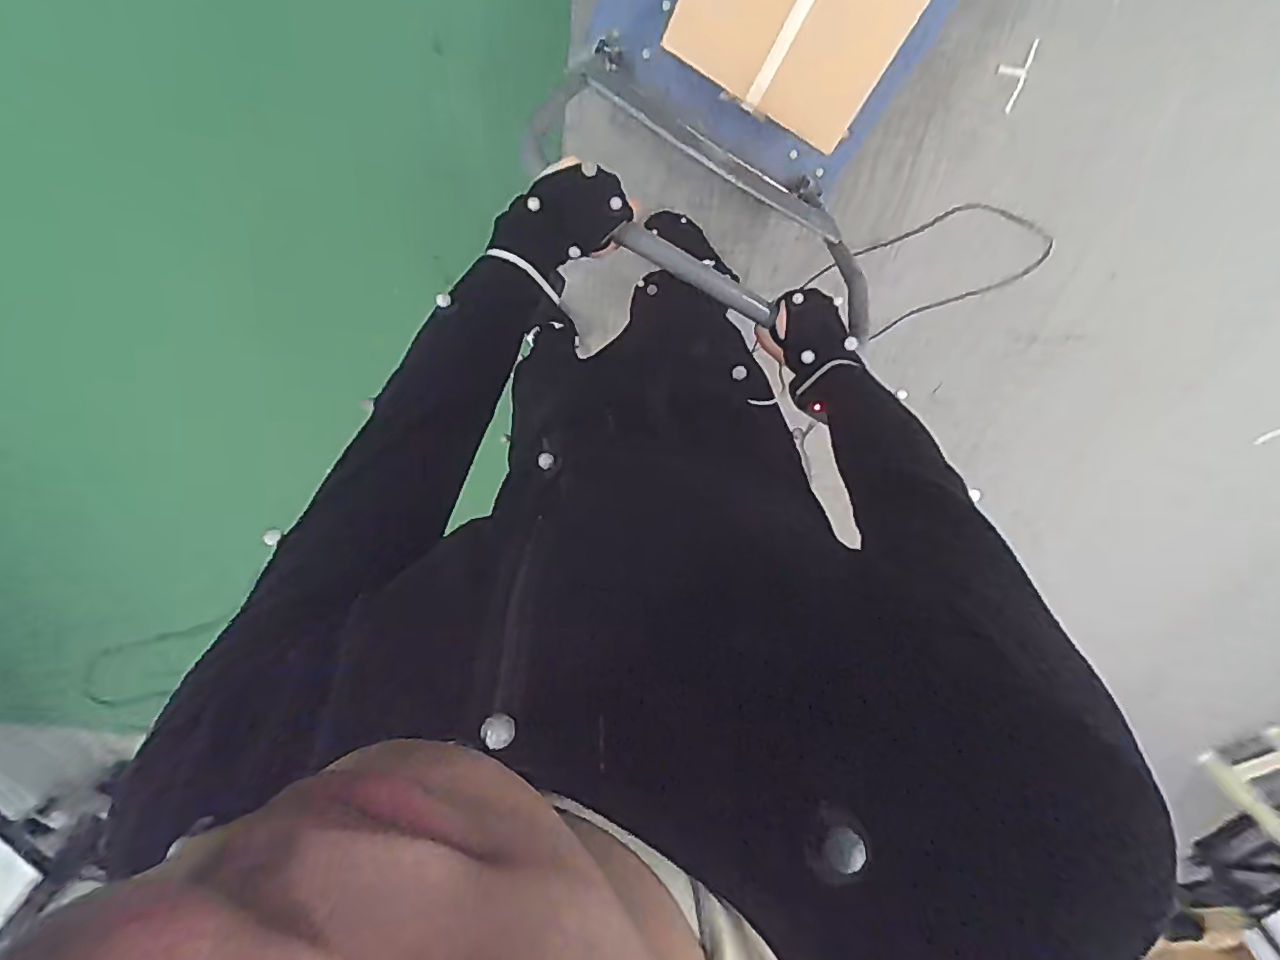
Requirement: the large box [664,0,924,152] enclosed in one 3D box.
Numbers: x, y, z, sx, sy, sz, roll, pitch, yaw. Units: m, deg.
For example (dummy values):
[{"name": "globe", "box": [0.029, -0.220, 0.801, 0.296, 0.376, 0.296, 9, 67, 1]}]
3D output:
[{"name": "large box", "box": [0.265, -0.812, 0.842, 0.320, 0.320, 0.408, 23, 127, -15]}]
